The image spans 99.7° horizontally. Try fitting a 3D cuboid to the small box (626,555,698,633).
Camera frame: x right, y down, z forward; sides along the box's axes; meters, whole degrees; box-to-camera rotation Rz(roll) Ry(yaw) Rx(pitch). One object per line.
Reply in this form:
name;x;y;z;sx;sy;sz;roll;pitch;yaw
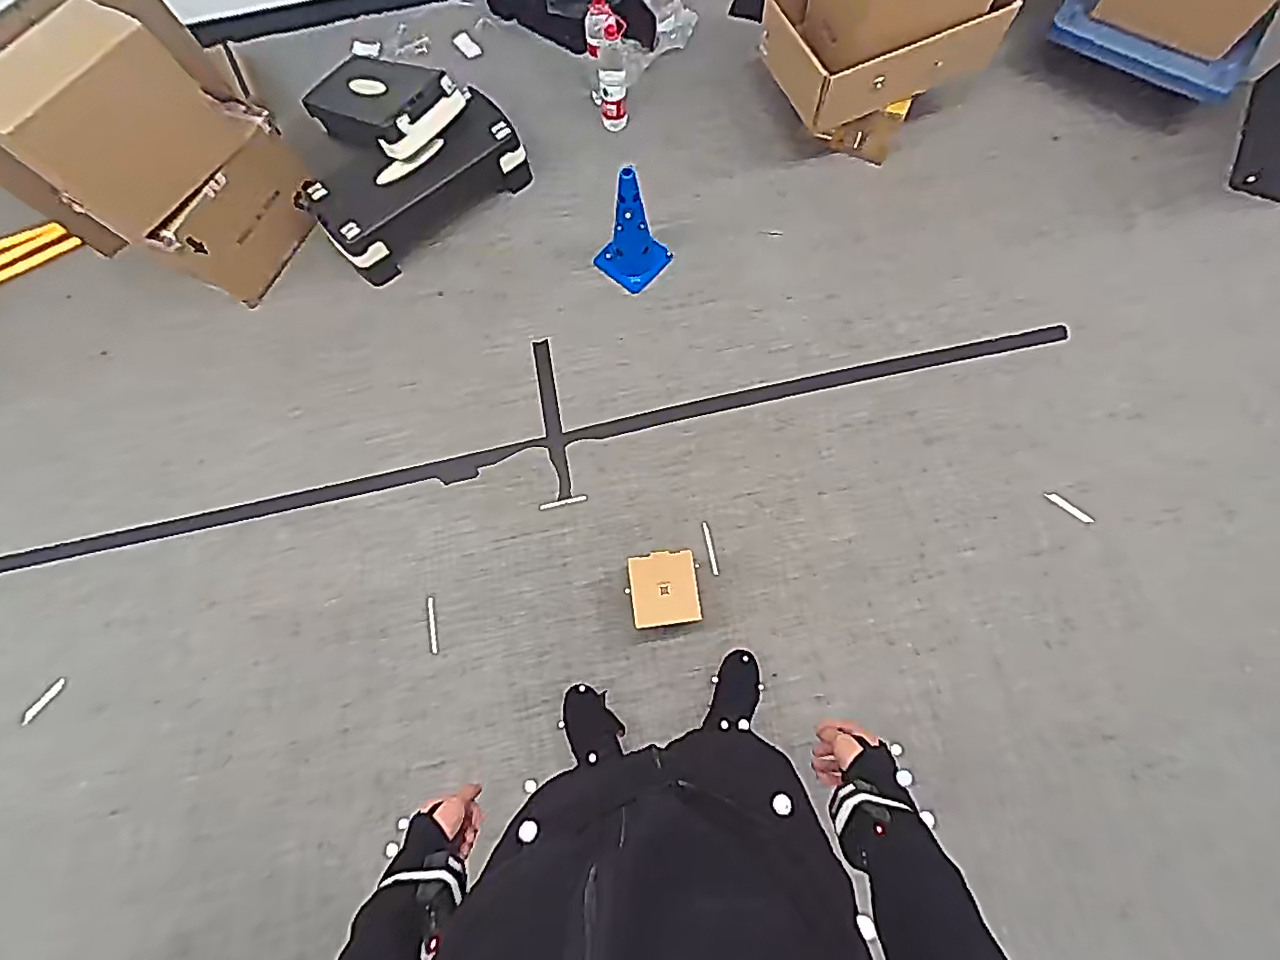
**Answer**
small box;0.058;0.302;1.419;0.168;0.176;0.179;-7;74;0
